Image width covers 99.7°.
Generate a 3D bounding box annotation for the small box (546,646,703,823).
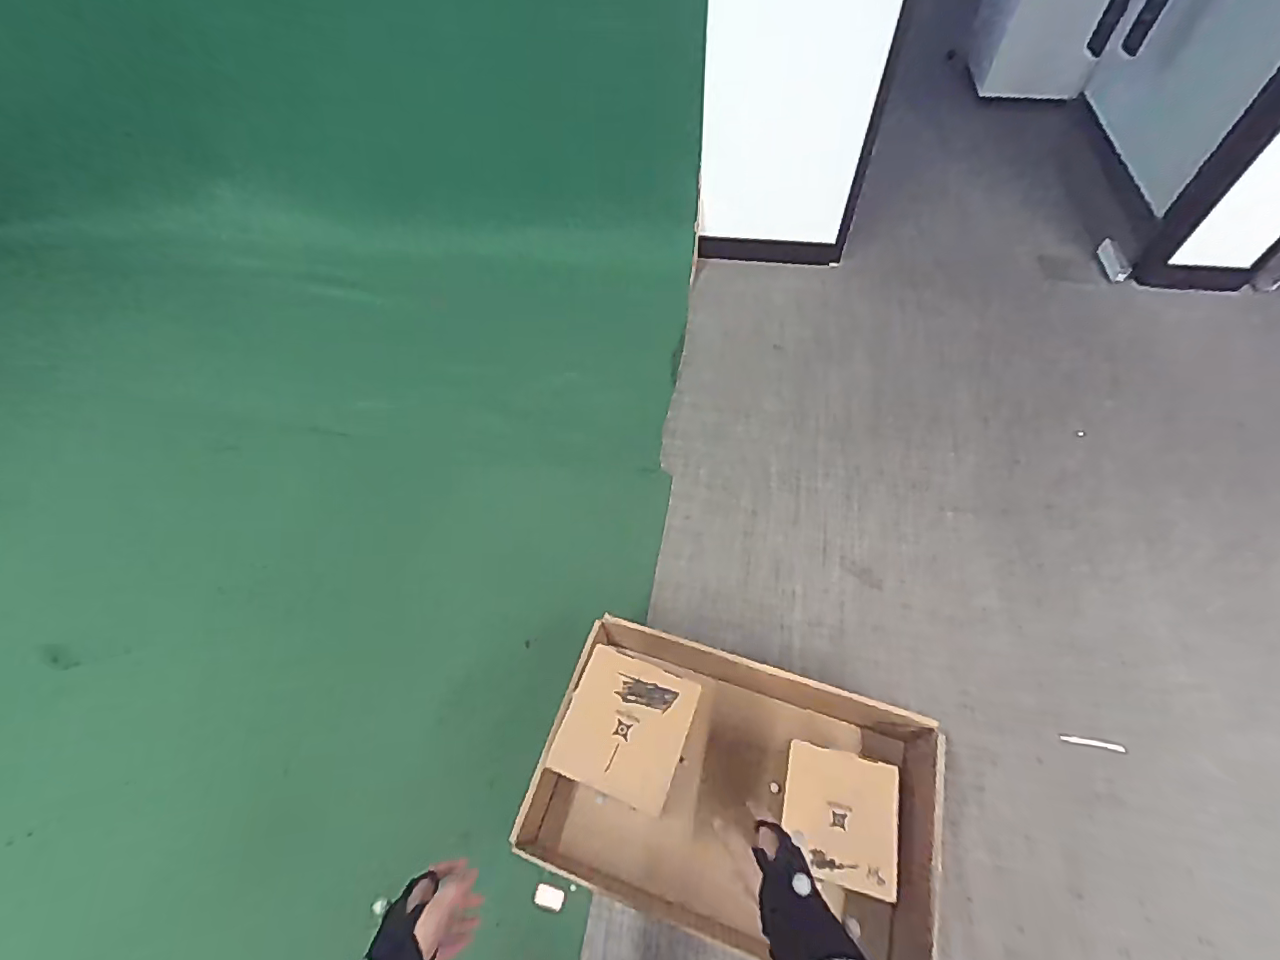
[{"bbox_3d":[-0.017,0.376,0.797,0.168,0.176,0.179,18,61,13],"label":"small box"}]
